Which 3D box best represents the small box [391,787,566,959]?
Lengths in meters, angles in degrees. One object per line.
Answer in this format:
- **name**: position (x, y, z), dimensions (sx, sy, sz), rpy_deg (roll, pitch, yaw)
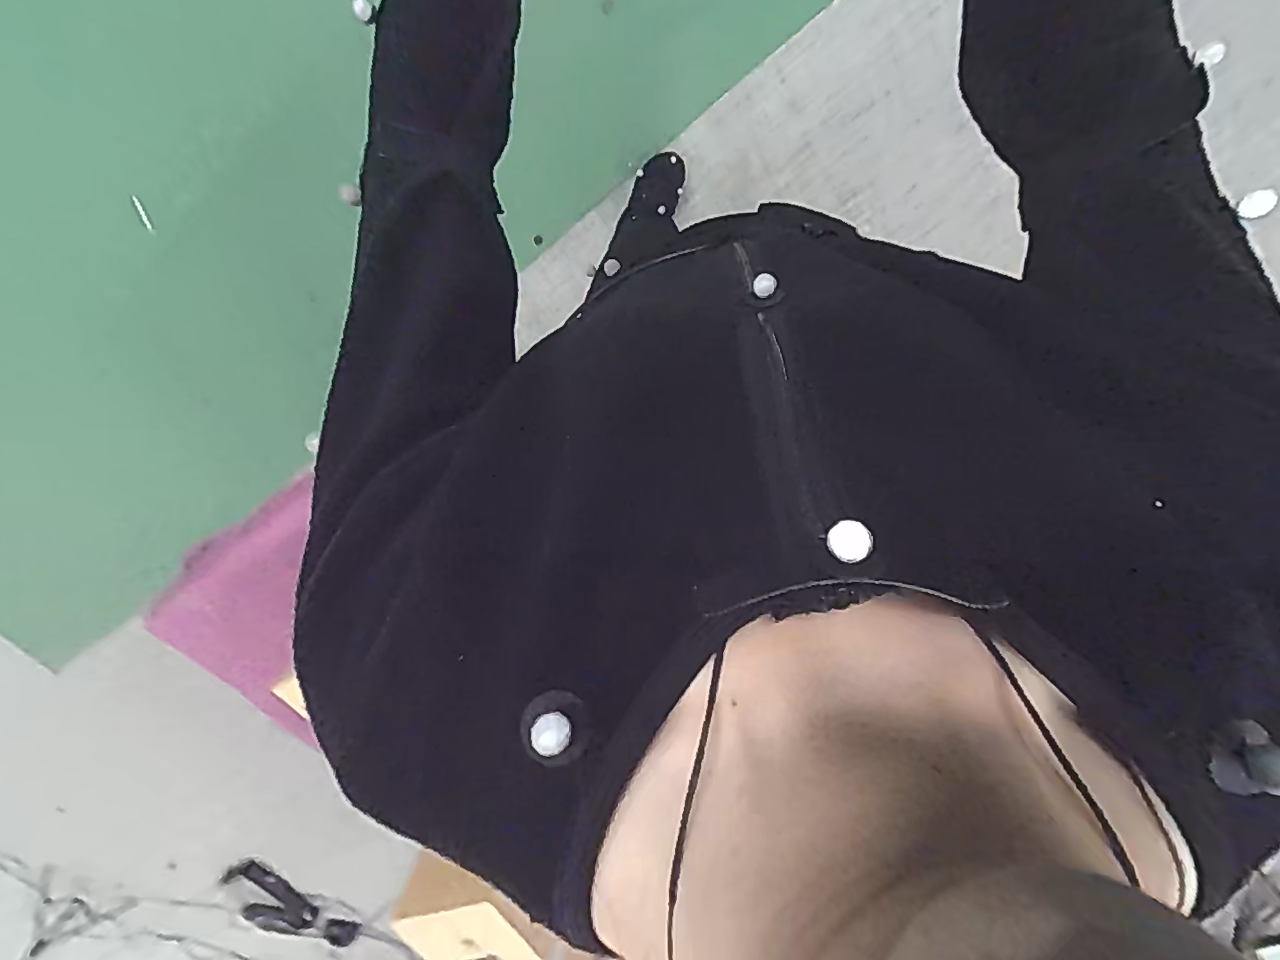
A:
- **small box**: position (-0.229, 0.611, 0.825), dimensions (0.168, 0.176, 0.179), rpy_deg (-21, 112, 13)
